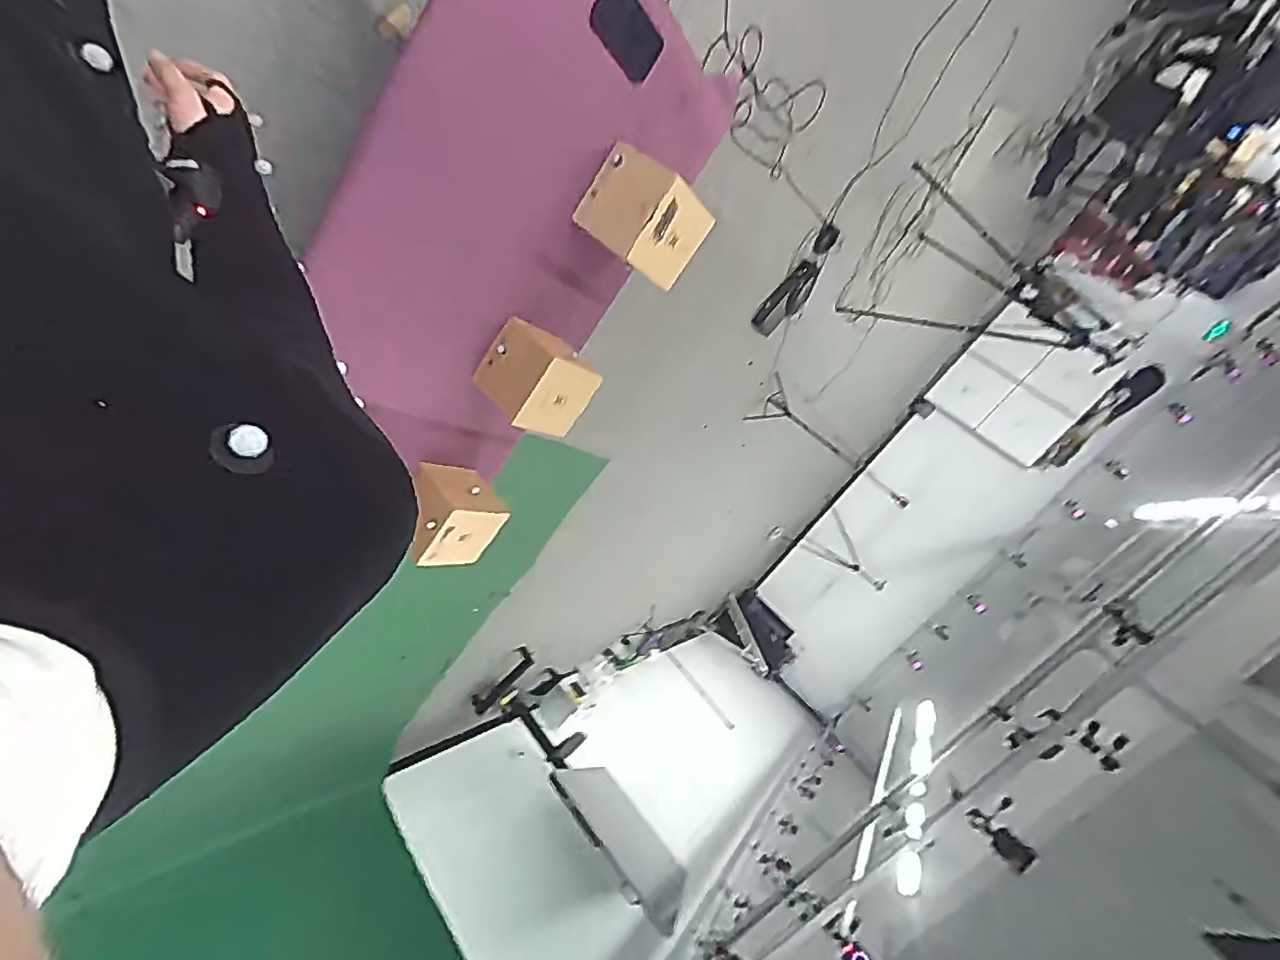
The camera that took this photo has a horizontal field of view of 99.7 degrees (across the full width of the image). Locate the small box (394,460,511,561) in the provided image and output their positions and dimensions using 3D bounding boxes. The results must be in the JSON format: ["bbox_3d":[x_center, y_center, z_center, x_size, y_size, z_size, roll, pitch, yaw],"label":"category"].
[{"bbox_3d":[-0.445,0.070,1.266,0.168,0.176,0.179,-52,155,14],"label":"small box"}]

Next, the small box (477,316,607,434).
[{"bbox_3d":[-0.211,-0.225,1.163,0.168,0.176,0.179,-52,153,15],"label":"small box"}]

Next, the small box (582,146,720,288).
[{"bbox_3d":[0.019,-0.514,1.055,0.168,0.176,0.179,-52,154,17],"label":"small box"}]
